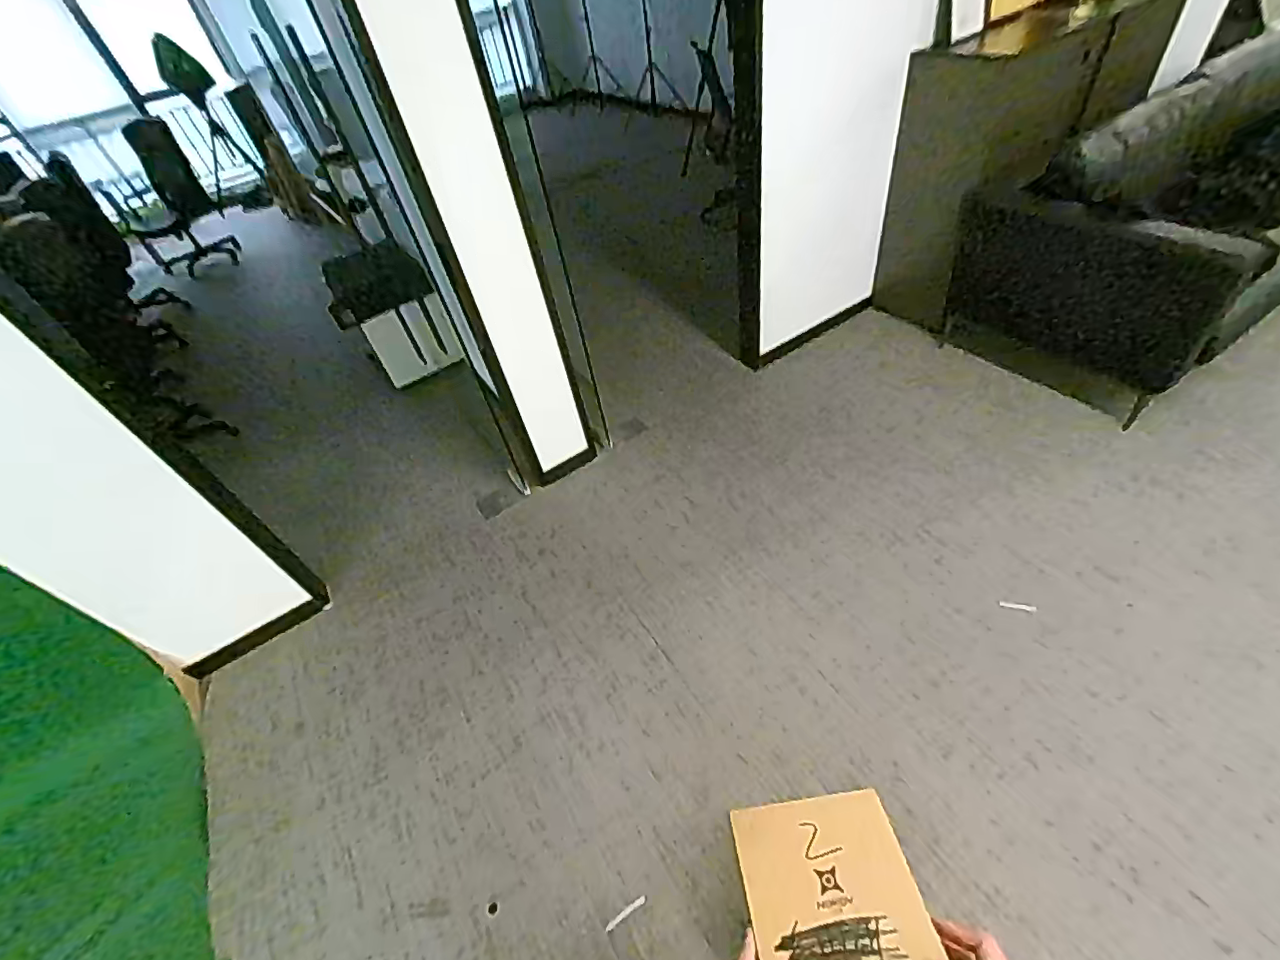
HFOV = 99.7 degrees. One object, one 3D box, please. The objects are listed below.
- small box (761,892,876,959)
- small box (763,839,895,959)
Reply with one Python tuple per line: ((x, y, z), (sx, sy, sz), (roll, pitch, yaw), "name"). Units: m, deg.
((0.371, 0.962, 1.159), (0.168, 0.176, 0.179), (-22, 47, -7), "small box")
((0.352, 0.847, 1.048), (0.168, 0.176, 0.179), (-24, 47, -13), "small box")
